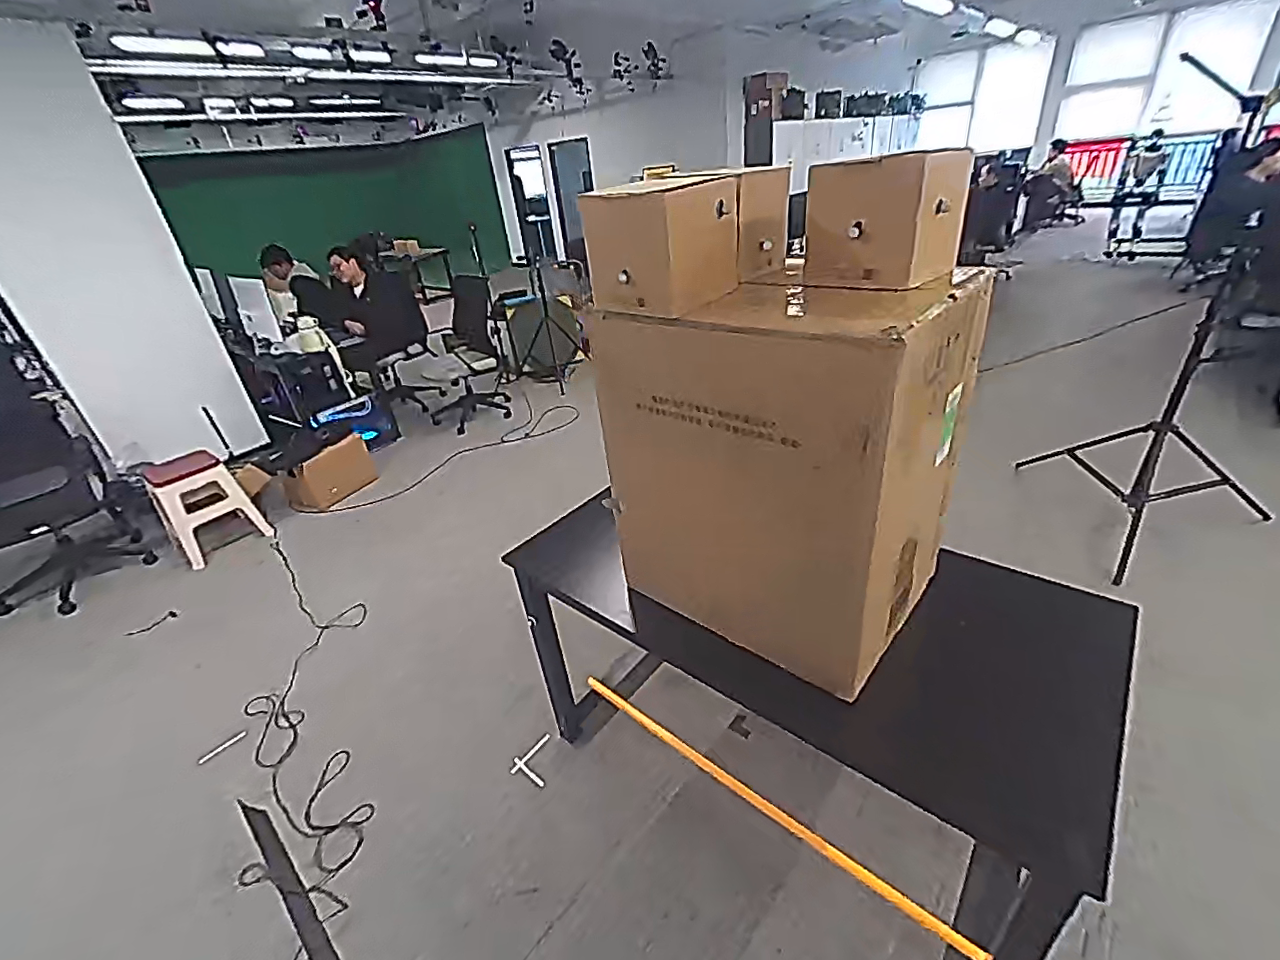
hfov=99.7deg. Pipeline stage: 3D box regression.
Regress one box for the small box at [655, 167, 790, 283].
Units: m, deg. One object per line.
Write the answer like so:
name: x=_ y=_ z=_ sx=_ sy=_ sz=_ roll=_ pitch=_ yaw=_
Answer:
small box: x=0.147 y=-0.455 z=0.968 sx=0.179 sy=0.176 sz=0.168 roll=21 pitch=39 yaw=37
